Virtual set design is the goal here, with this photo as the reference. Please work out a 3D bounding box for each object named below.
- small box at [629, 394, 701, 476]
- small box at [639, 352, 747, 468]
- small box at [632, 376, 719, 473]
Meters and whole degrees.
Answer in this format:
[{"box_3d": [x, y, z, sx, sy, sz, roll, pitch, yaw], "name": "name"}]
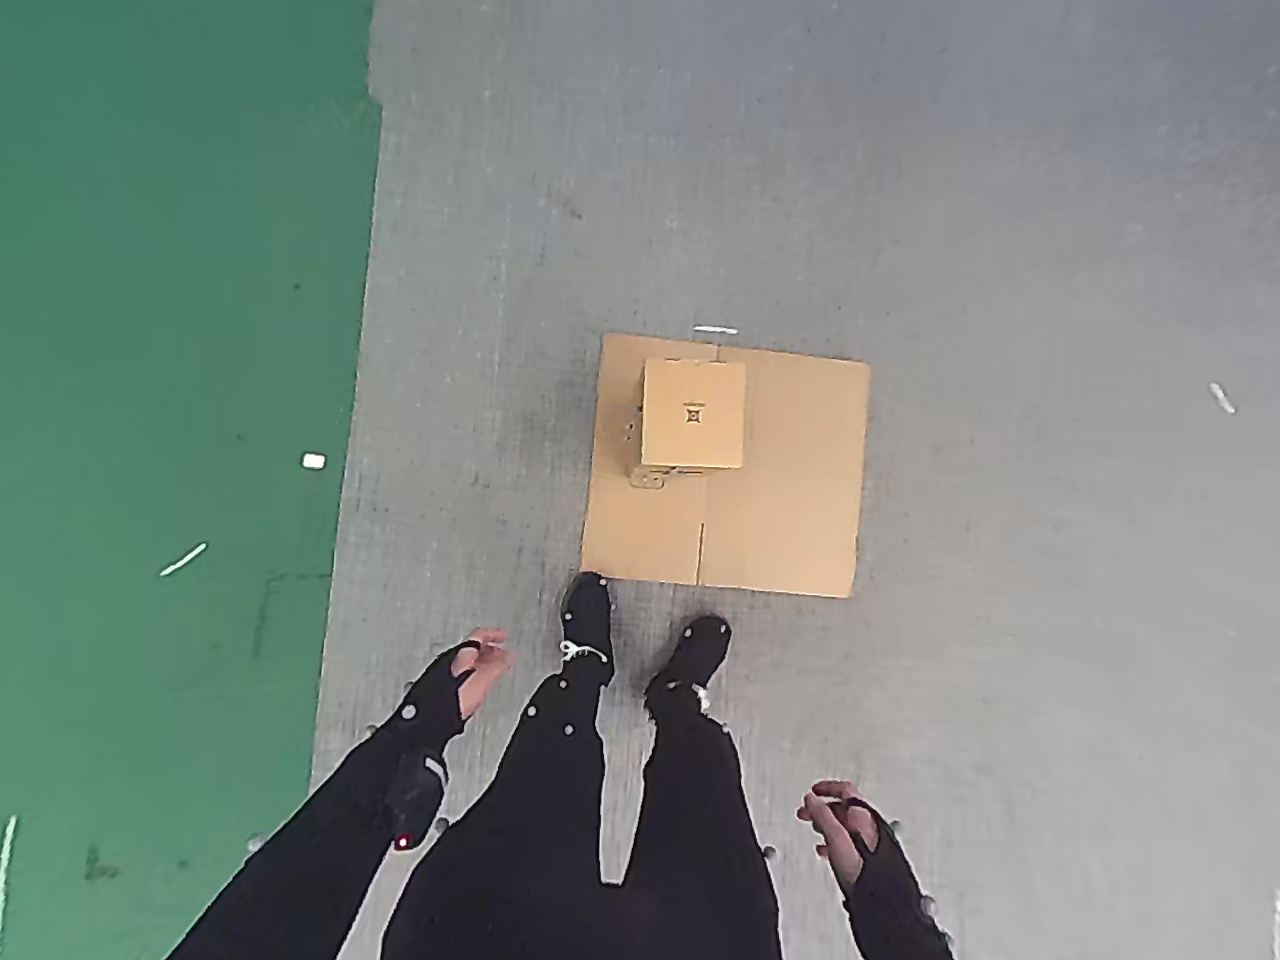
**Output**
[{"box_3d": [0.061, -0.101, 1.265, 0.168, 0.176, 0.179, -2, 89, -3], "name": "small box"}, {"box_3d": [0.085, -0.112, 0.941, 0.168, 0.176, 0.179, 2, 88, -3], "name": "small box"}, {"box_3d": [0.070, -0.106, 1.102, 0.168, 0.176, 0.179, 1, 87, -3], "name": "small box"}]
